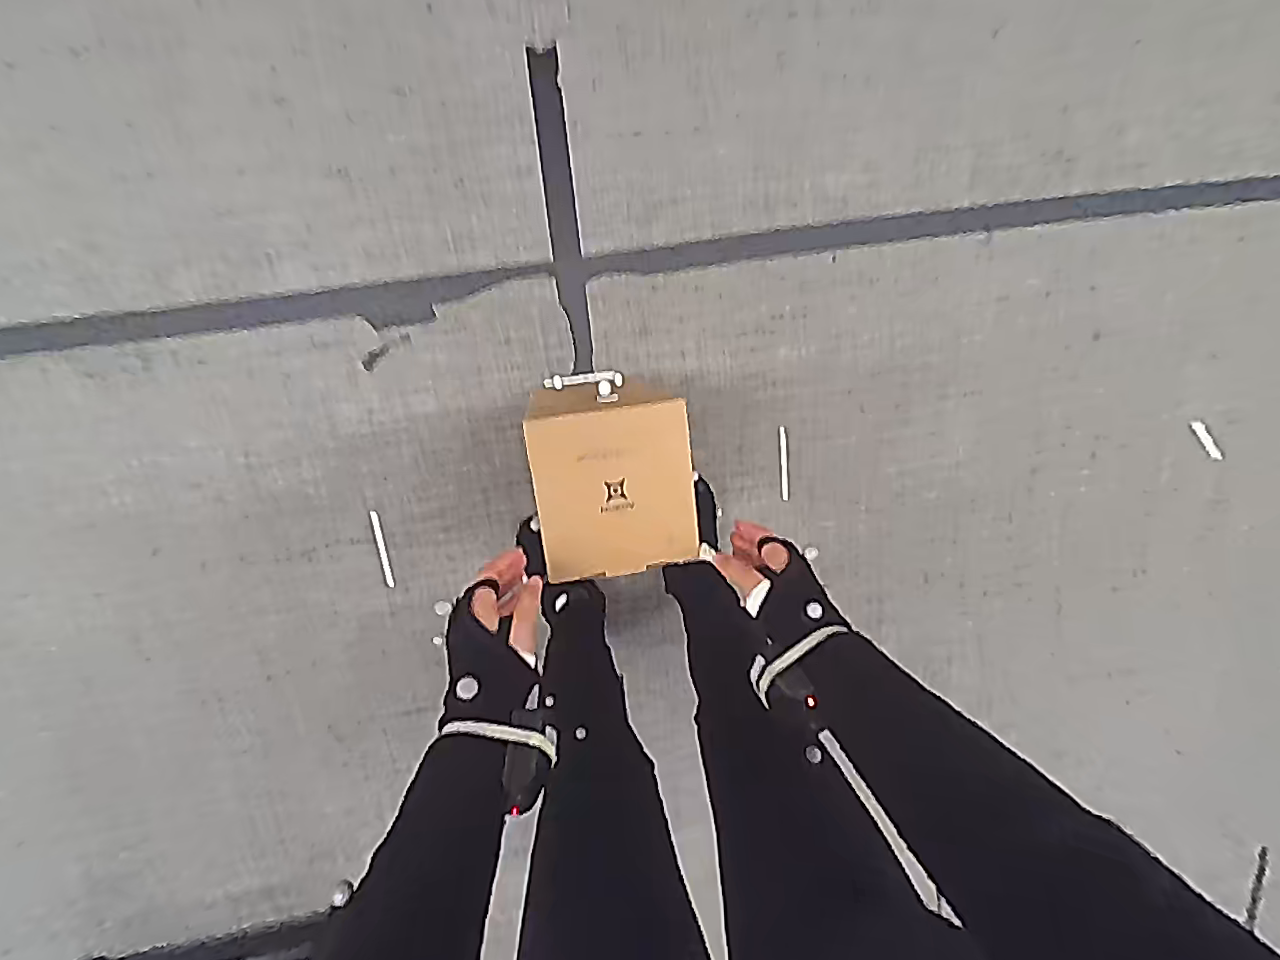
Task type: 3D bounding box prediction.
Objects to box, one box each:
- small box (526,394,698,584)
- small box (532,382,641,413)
[{"bbox_3d":[-0.036,-0.001,0.637,0.168,0.176,0.179,-9,104,-7],"label":"small box"},{"bbox_3d":[-0.088,-0.079,0.950,0.179,0.176,0.168,-8,105,-7],"label":"small box"}]
